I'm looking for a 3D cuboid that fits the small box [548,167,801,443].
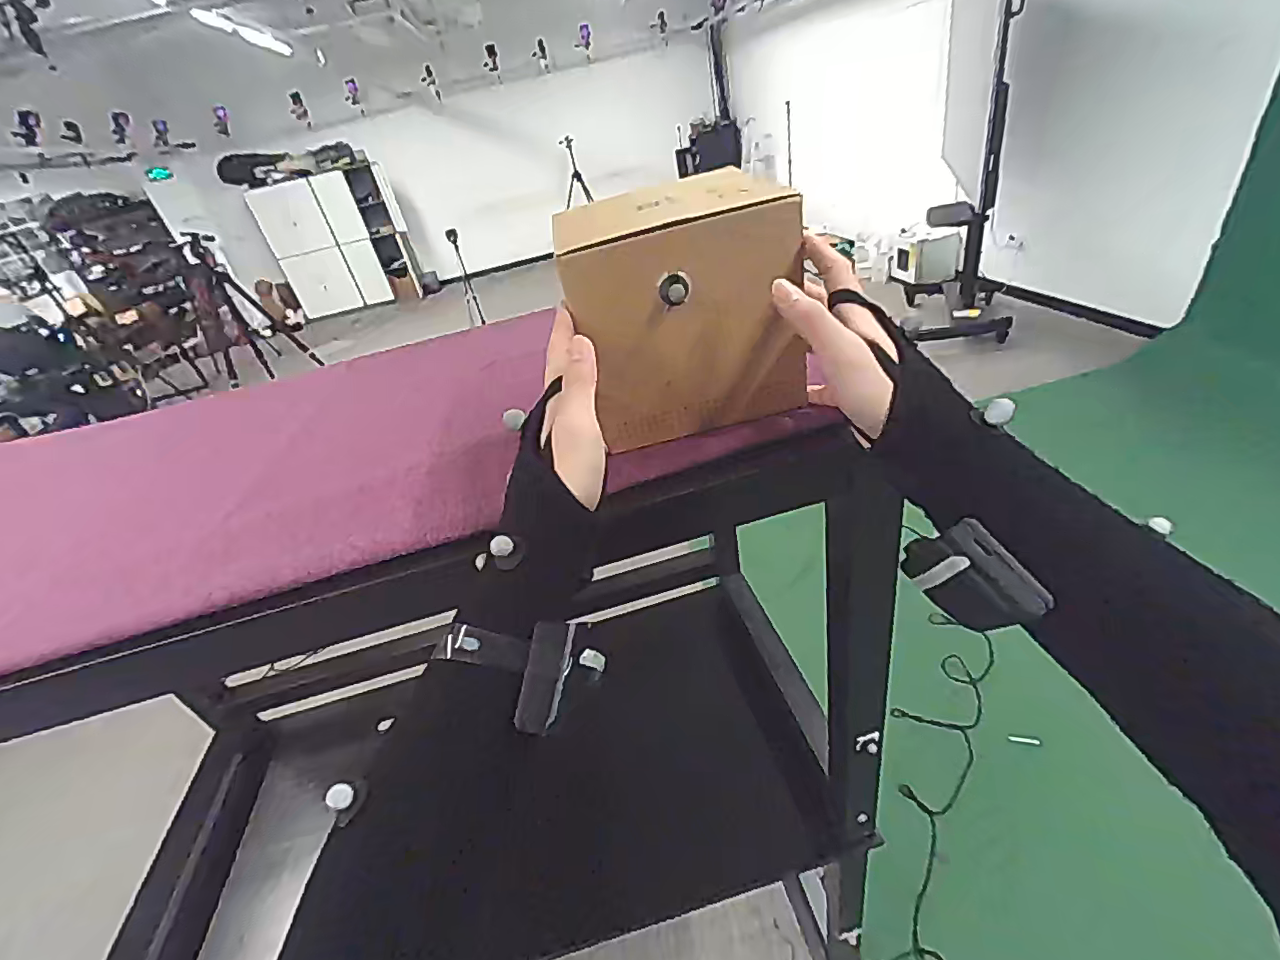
[{"bbox_3d":[0.029,-0.153,0.474,0.179,0.176,0.168,-14,37,1],"label":"small box"}]
